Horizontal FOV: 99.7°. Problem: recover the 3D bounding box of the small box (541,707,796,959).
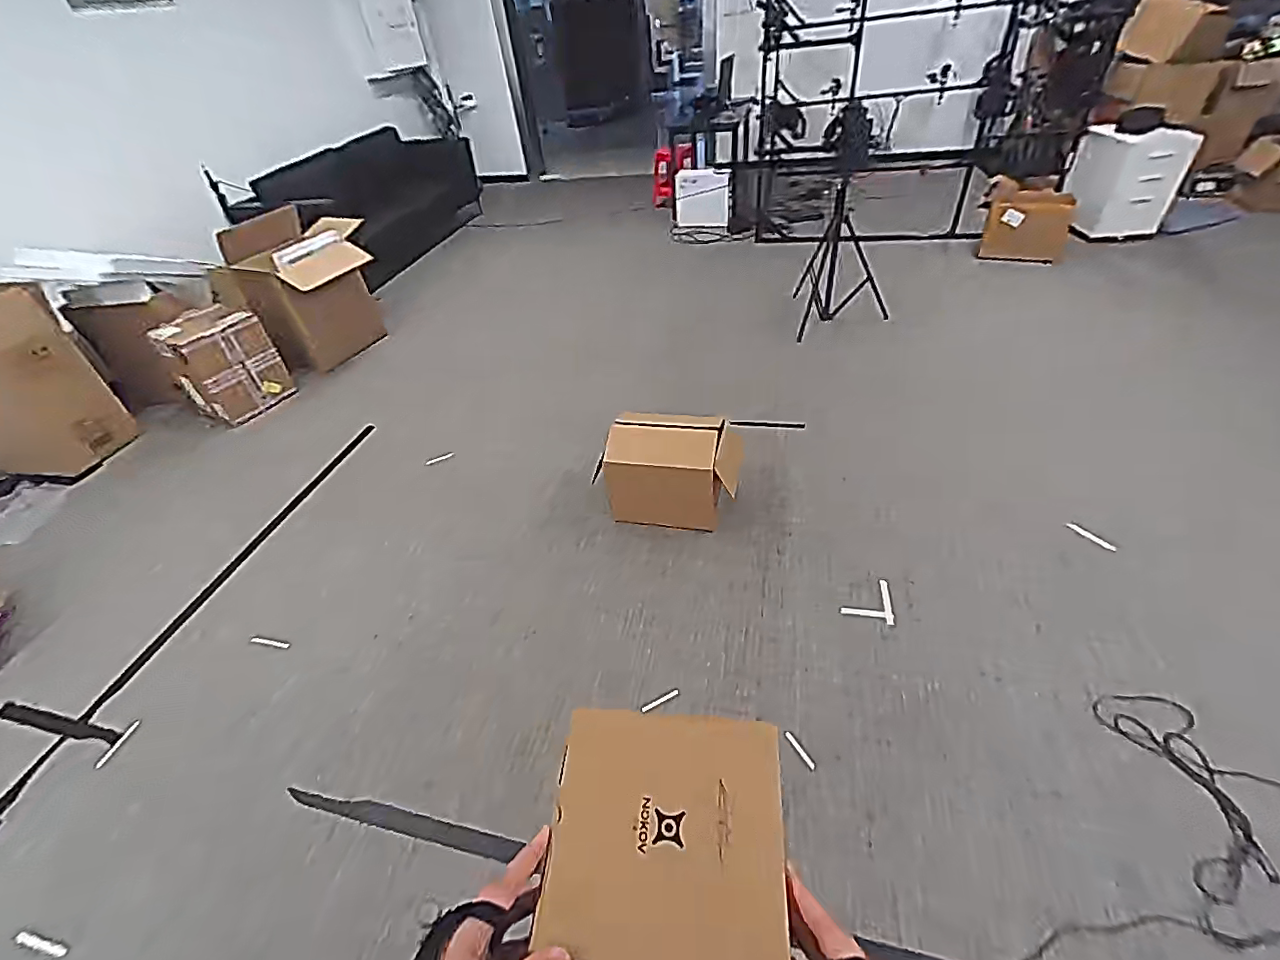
[{"bbox_3d":[0.032,0.315,0.471,0.179,0.176,0.168,0,48,8],"label":"small box"}]
